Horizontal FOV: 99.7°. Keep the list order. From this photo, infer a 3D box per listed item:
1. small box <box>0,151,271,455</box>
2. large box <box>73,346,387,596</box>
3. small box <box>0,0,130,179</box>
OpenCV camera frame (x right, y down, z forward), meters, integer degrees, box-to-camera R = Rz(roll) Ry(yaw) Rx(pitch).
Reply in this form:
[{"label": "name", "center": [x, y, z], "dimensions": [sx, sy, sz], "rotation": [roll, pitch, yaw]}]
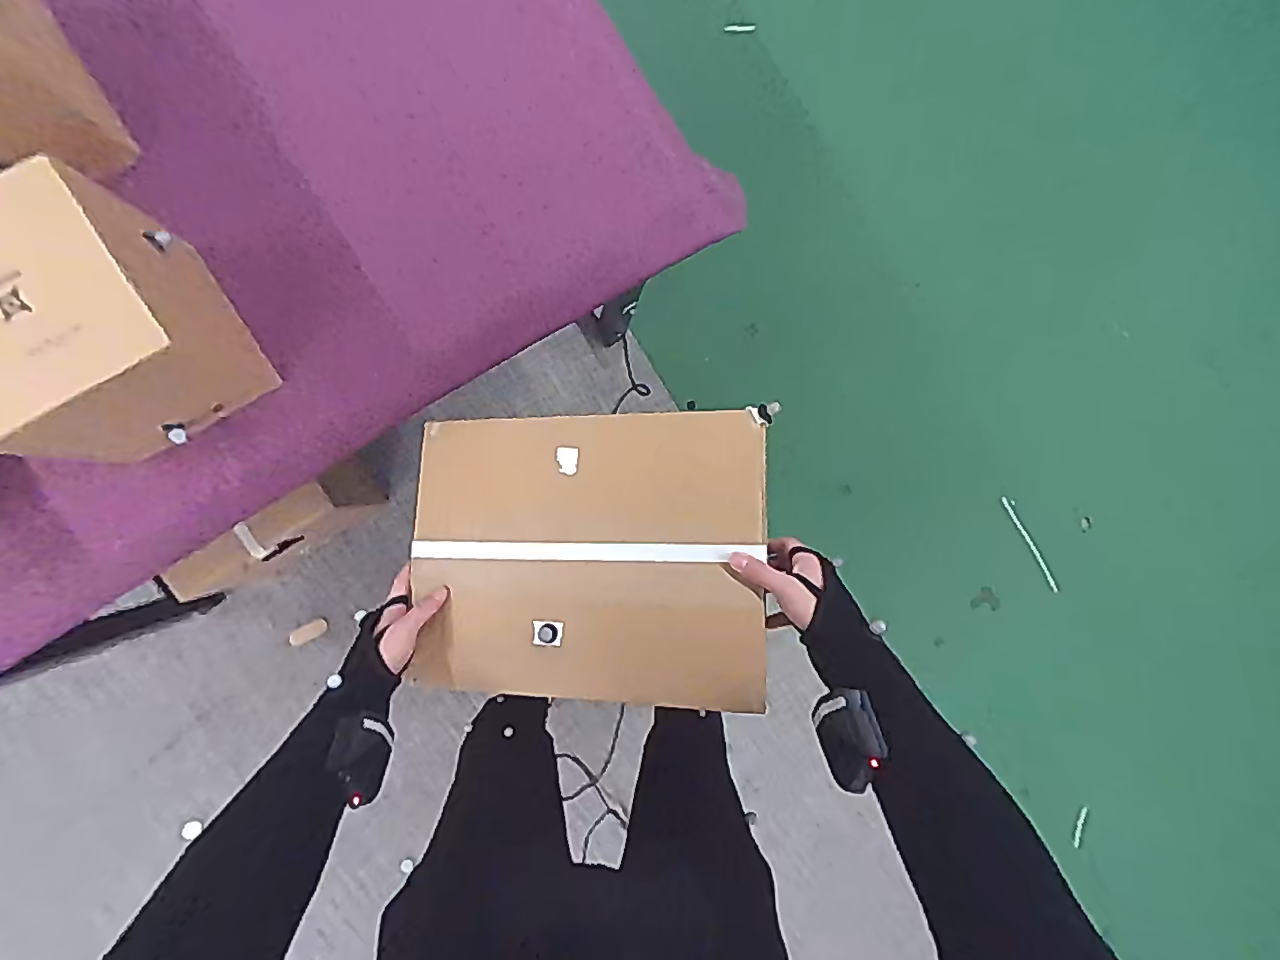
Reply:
[{"label": "small box", "center": [-0.491, -0.136, 0.486], "dimensions": [0.168, 0.176, 0.179], "rotation": [-32, 93, -6]}, {"label": "large box", "center": [-0.811, -0.033, 1.111], "dimensions": [0.320, 0.320, 0.408], "rotation": [-34, 92, -7]}, {"label": "small box", "center": [-0.628, -0.374, 0.473], "dimensions": [0.168, 0.176, 0.179], "rotation": [-32, 94, -7]}]
